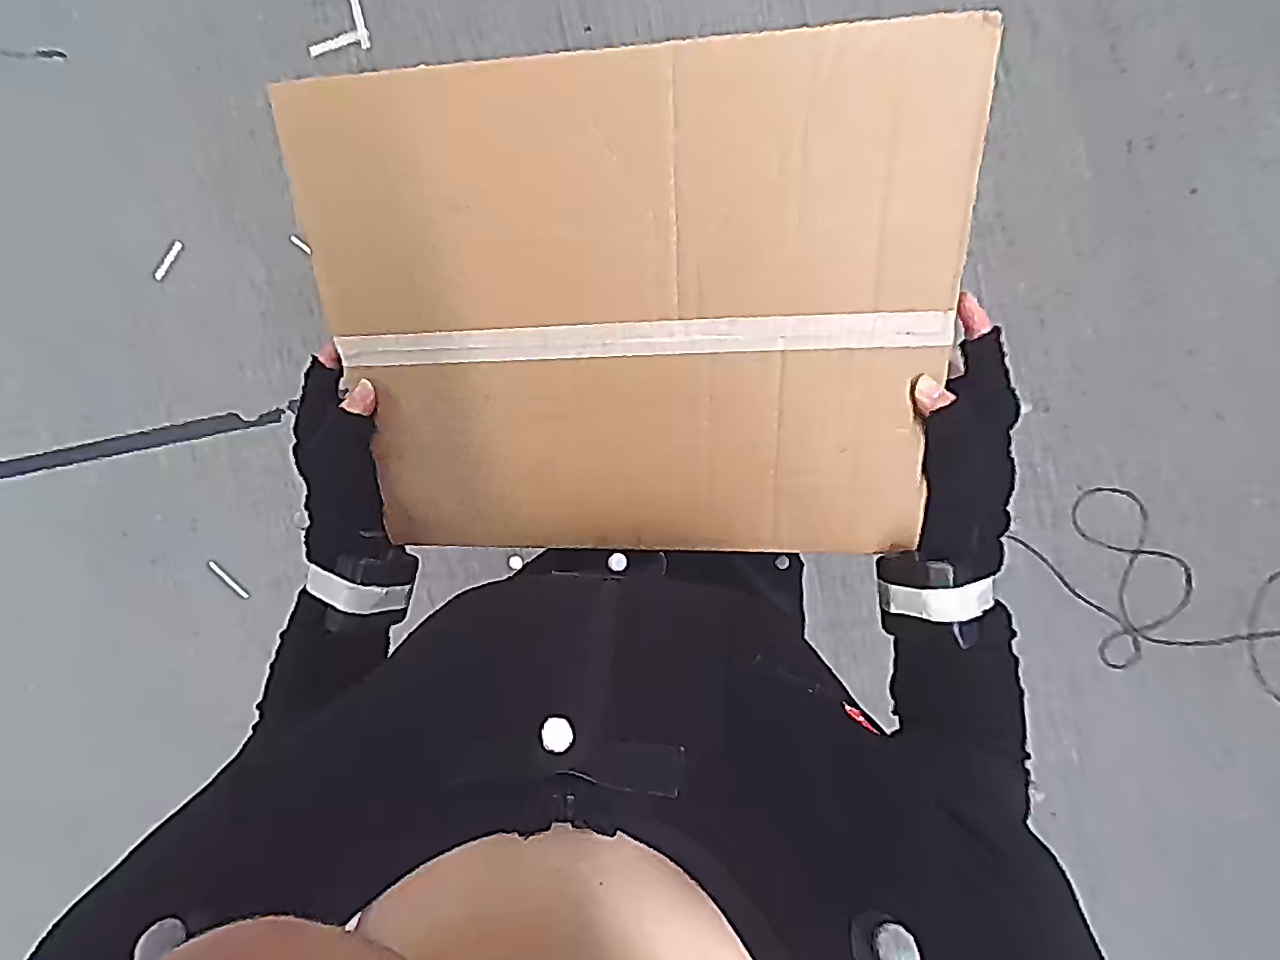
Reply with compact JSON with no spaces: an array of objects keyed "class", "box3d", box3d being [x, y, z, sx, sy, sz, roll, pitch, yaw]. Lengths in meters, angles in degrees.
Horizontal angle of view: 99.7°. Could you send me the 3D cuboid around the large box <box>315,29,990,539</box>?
[{"class":"large box","box3d":[0.014,-0.153,0.504,0.408,0.320,0.320,0,114,7]}]
